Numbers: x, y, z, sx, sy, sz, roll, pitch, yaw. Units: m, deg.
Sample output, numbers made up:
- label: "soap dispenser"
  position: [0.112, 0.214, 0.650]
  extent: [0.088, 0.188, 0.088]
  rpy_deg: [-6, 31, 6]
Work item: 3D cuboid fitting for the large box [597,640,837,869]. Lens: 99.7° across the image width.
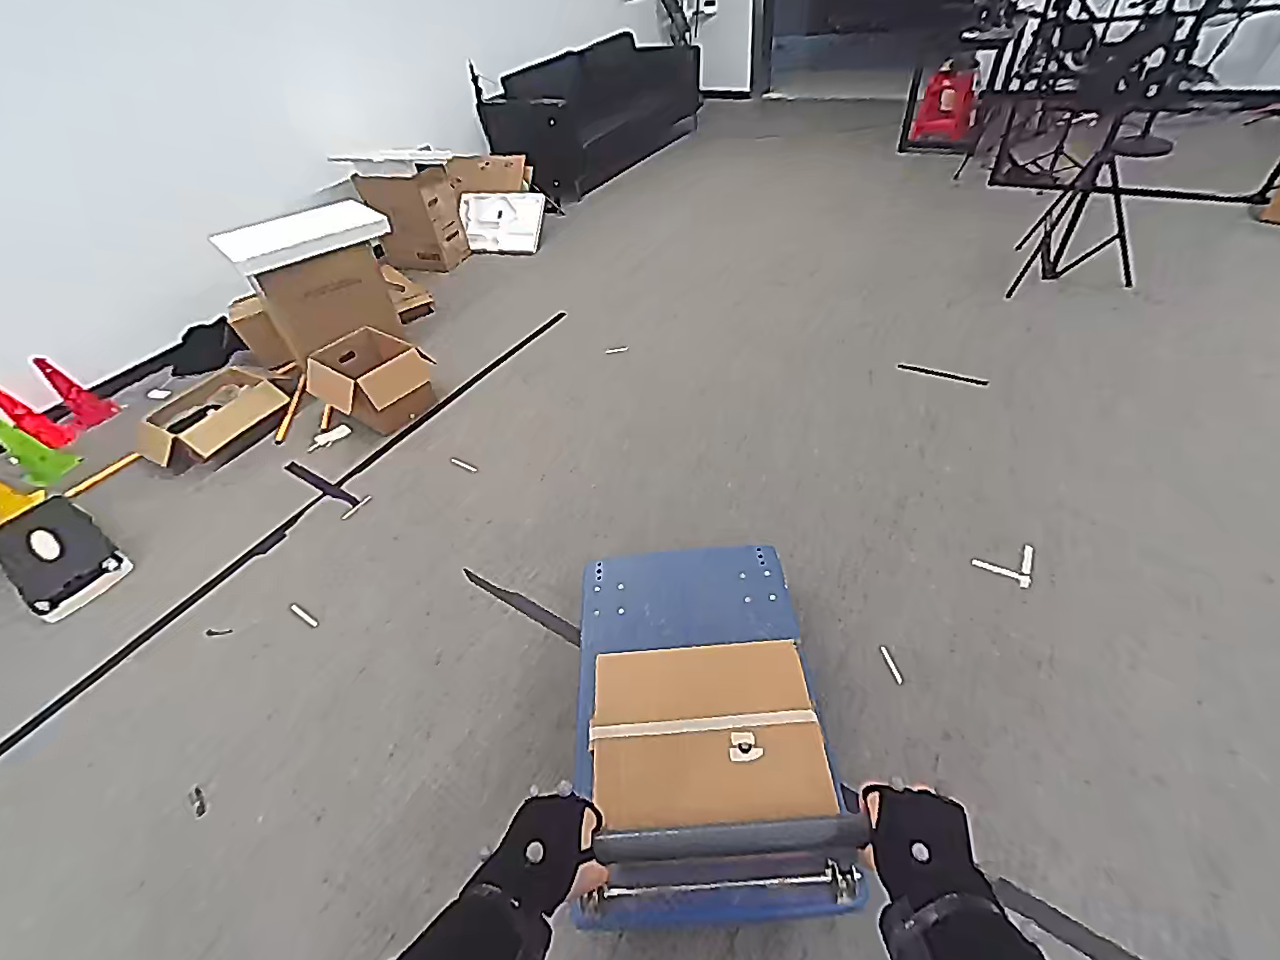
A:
- label: "large box"
  position: [0.129, 0.556, 1.093]
  extent: [0.408, 0.320, 0.320]
  rpy_deg: [-5, 45, 1]
